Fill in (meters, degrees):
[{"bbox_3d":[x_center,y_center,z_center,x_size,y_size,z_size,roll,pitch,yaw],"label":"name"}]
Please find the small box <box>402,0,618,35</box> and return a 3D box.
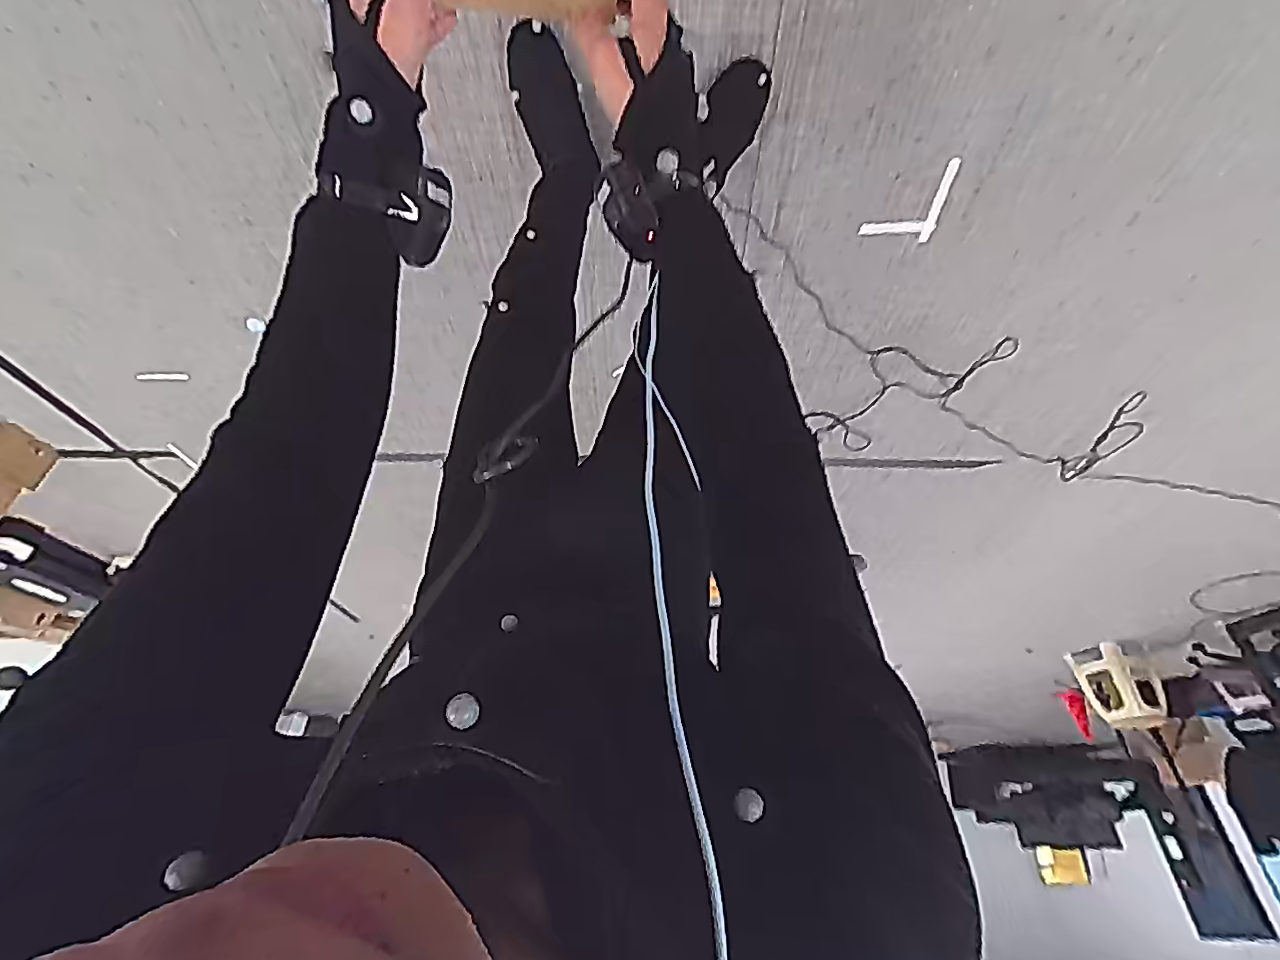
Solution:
[{"bbox_3d":[-0.095,-0.467,0.384,0.168,0.176,0.179,0,149,-10],"label":"small box"}]
